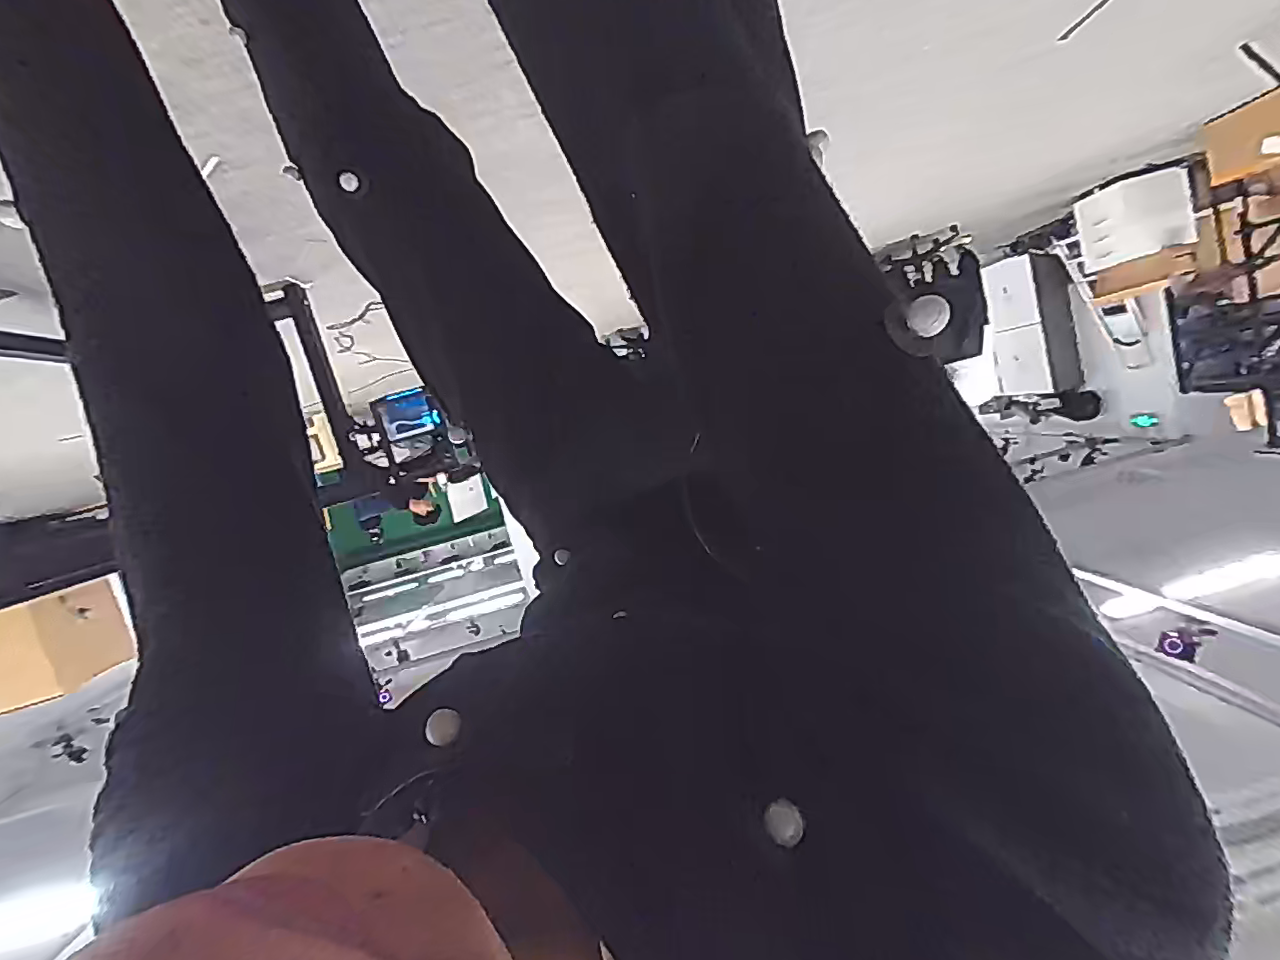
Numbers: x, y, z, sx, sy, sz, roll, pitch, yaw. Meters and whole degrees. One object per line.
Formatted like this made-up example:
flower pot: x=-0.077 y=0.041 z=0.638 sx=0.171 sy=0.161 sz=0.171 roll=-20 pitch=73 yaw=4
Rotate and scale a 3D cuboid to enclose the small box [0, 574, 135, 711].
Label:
small box: x=-1.032 y=0.273 z=0.913 sx=0.179 sy=0.176 sz=0.168 roll=-16 pitch=-172 yaw=-8
